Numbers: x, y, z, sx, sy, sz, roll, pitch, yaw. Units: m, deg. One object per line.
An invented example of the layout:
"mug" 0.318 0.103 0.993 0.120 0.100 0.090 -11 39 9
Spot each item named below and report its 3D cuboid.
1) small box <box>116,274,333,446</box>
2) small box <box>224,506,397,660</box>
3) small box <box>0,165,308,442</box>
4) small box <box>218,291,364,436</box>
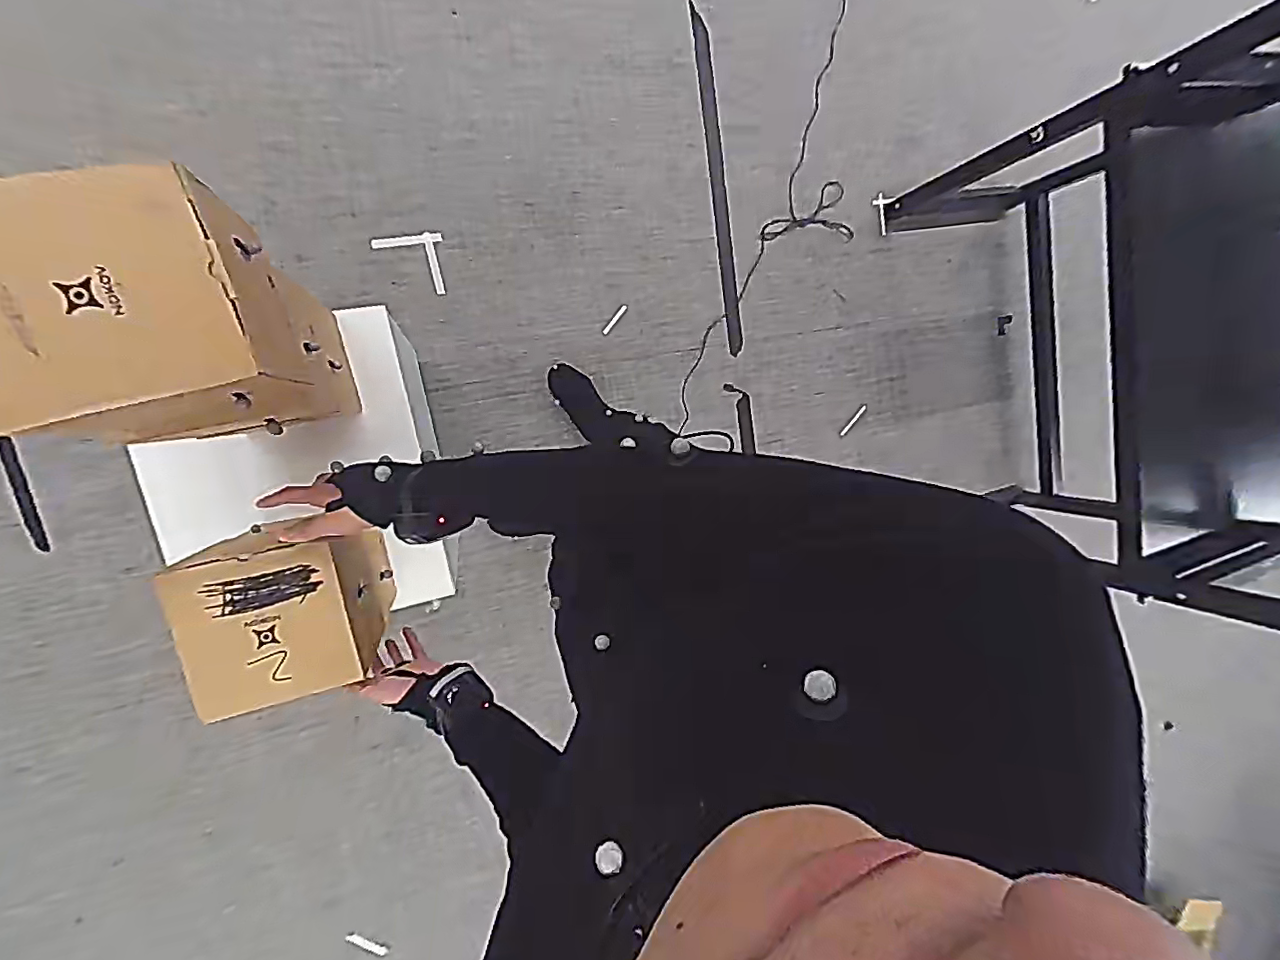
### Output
"small box" -0.473 -0.140 0.619 0.179 0.176 0.168 -14 101 -15
"small box" -0.482 0.143 0.825 0.179 0.176 0.168 -12 99 -15
"small box" -0.416 -0.138 0.466 0.179 0.176 0.168 -19 101 -14
"small box" -0.523 -0.159 0.775 0.179 0.176 0.168 -14 101 -15
